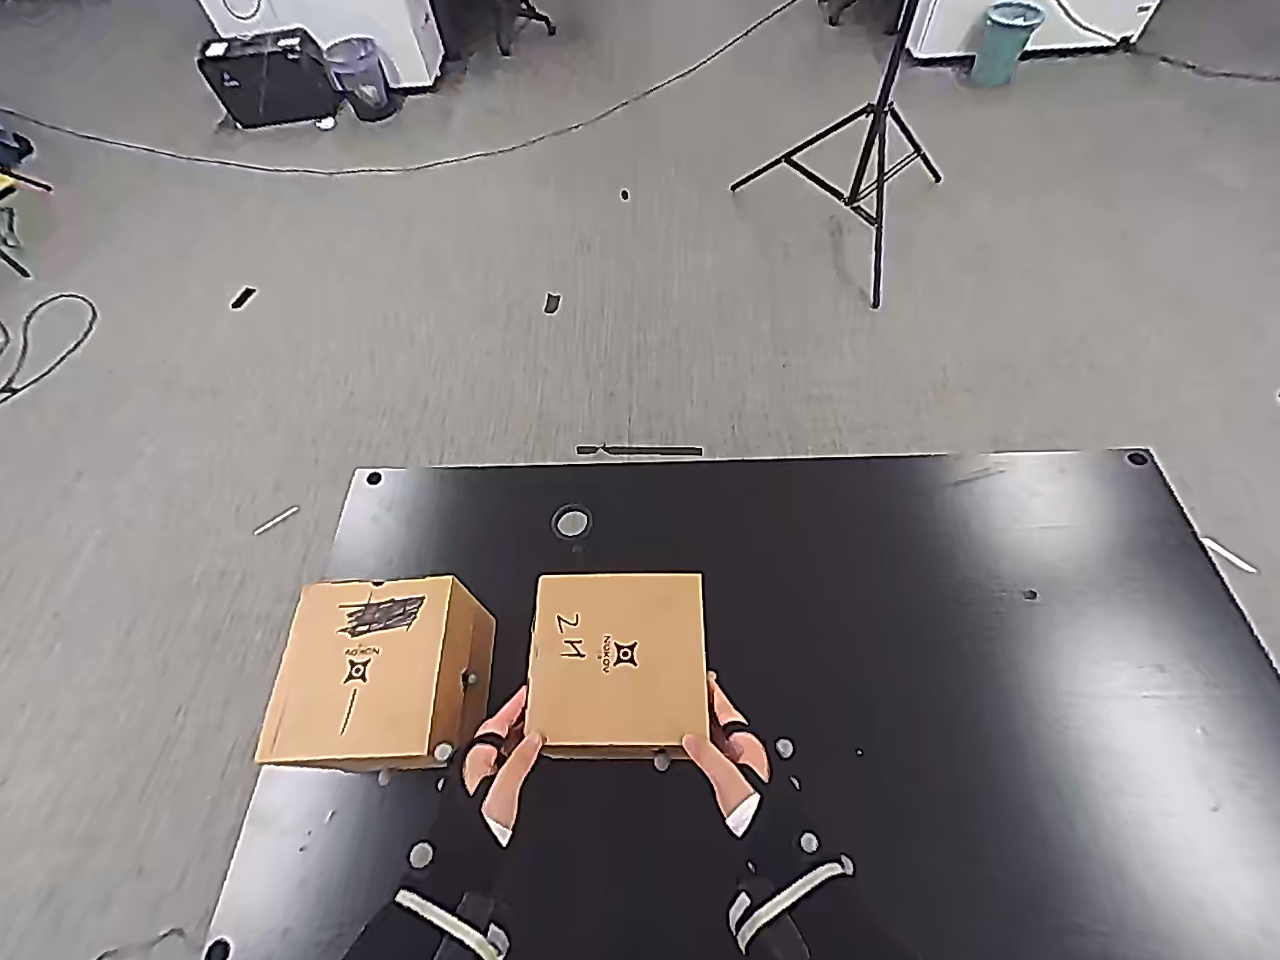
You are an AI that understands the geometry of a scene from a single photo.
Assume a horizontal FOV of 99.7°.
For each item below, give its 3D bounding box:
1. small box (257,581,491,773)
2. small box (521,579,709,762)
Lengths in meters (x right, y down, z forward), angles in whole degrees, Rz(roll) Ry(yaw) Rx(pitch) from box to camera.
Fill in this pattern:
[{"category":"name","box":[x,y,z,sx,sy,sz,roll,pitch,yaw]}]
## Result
[{"category":"small box","box":[-0.277,0.228,0.614,0.168,0.176,0.179,-3,60,1]},{"category":"small box","box":[-0.020,0.217,0.605,0.179,0.176,0.168,-2,59,3]}]
